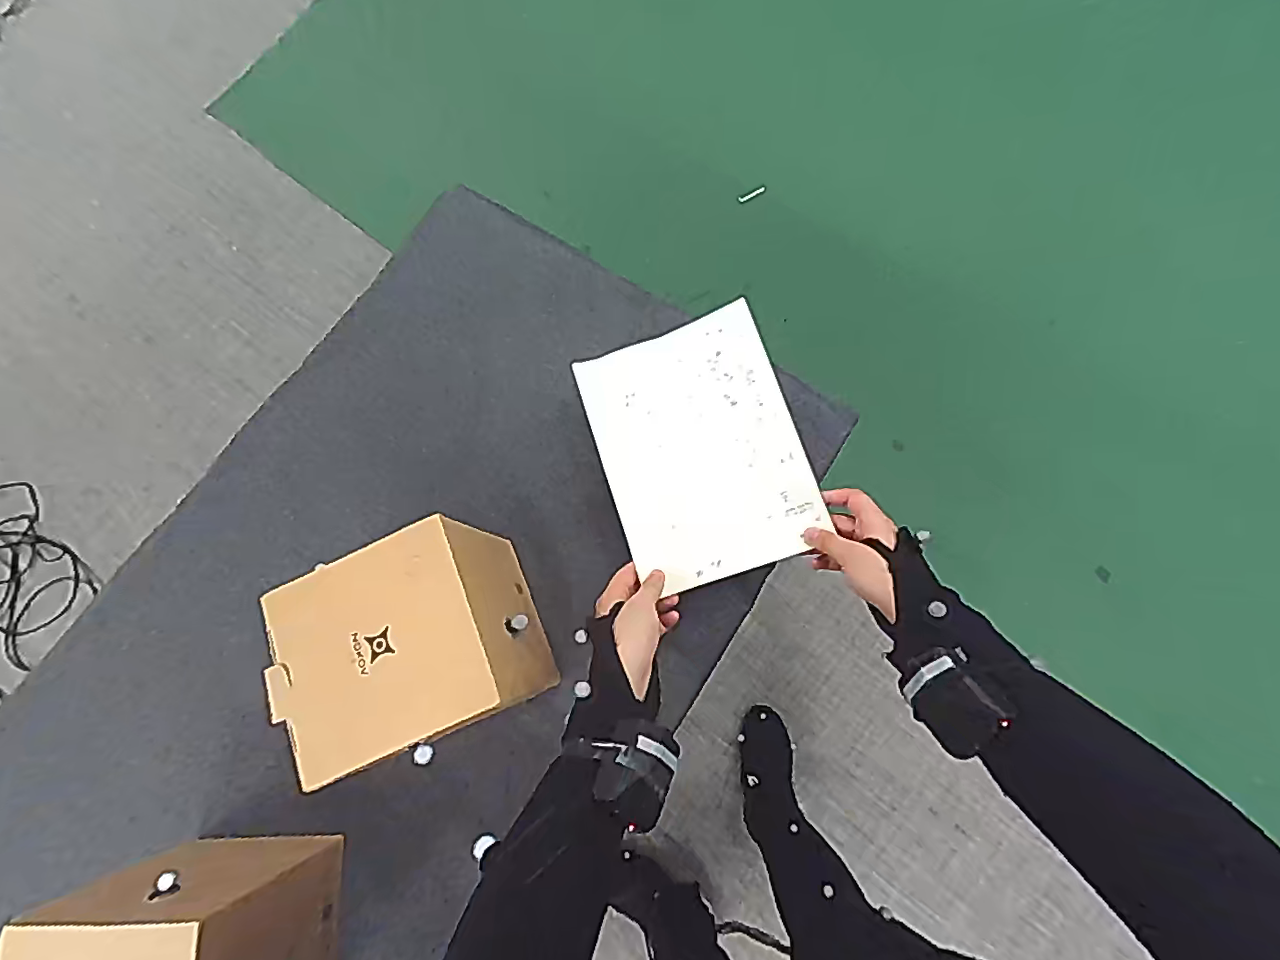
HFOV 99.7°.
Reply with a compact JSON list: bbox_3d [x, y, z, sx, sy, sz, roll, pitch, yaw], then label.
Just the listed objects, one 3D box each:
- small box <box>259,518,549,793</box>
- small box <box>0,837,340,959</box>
[{"bbox_3d":[-0.202,0.152,0.512,0.179,0.176,0.168,-26,75,3],"label":"small box"},{"bbox_3d":[-0.395,0.435,0.472,0.179,0.176,0.168,-6,76,7],"label":"small box"}]
